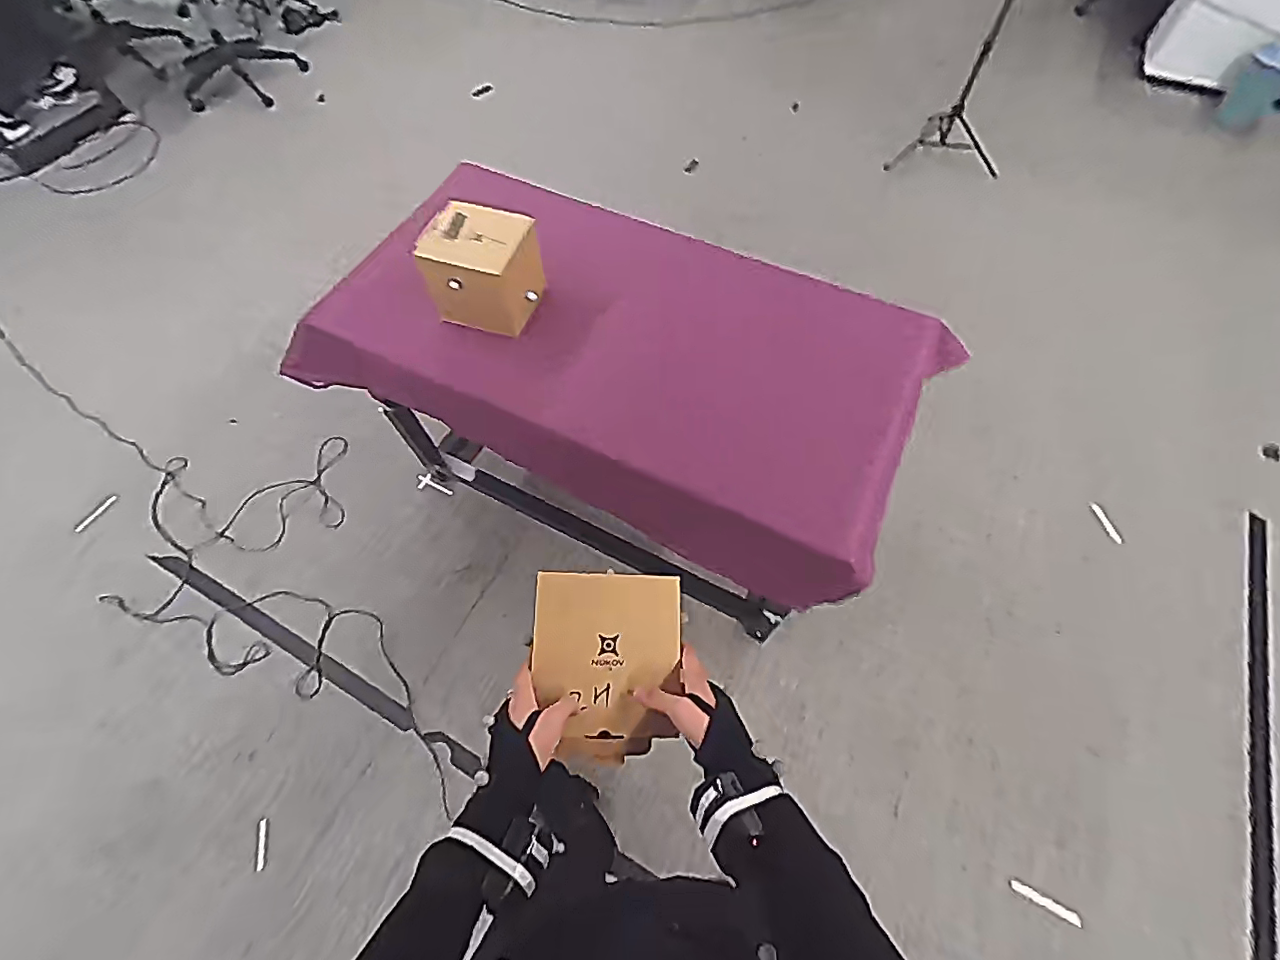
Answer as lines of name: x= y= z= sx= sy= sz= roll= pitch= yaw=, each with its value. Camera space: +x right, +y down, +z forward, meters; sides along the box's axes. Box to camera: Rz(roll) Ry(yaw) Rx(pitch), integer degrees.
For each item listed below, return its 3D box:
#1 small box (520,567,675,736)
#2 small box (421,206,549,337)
small box: x=-0.053 y=0.210 z=0.675 sx=0.168 sy=0.176 sz=0.179 roll=4 pitch=74 yaw=-6
small box: x=-0.302 y=-0.415 z=1.095 sx=0.179 sy=0.176 sz=0.168 roll=16 pitch=63 yaw=8
